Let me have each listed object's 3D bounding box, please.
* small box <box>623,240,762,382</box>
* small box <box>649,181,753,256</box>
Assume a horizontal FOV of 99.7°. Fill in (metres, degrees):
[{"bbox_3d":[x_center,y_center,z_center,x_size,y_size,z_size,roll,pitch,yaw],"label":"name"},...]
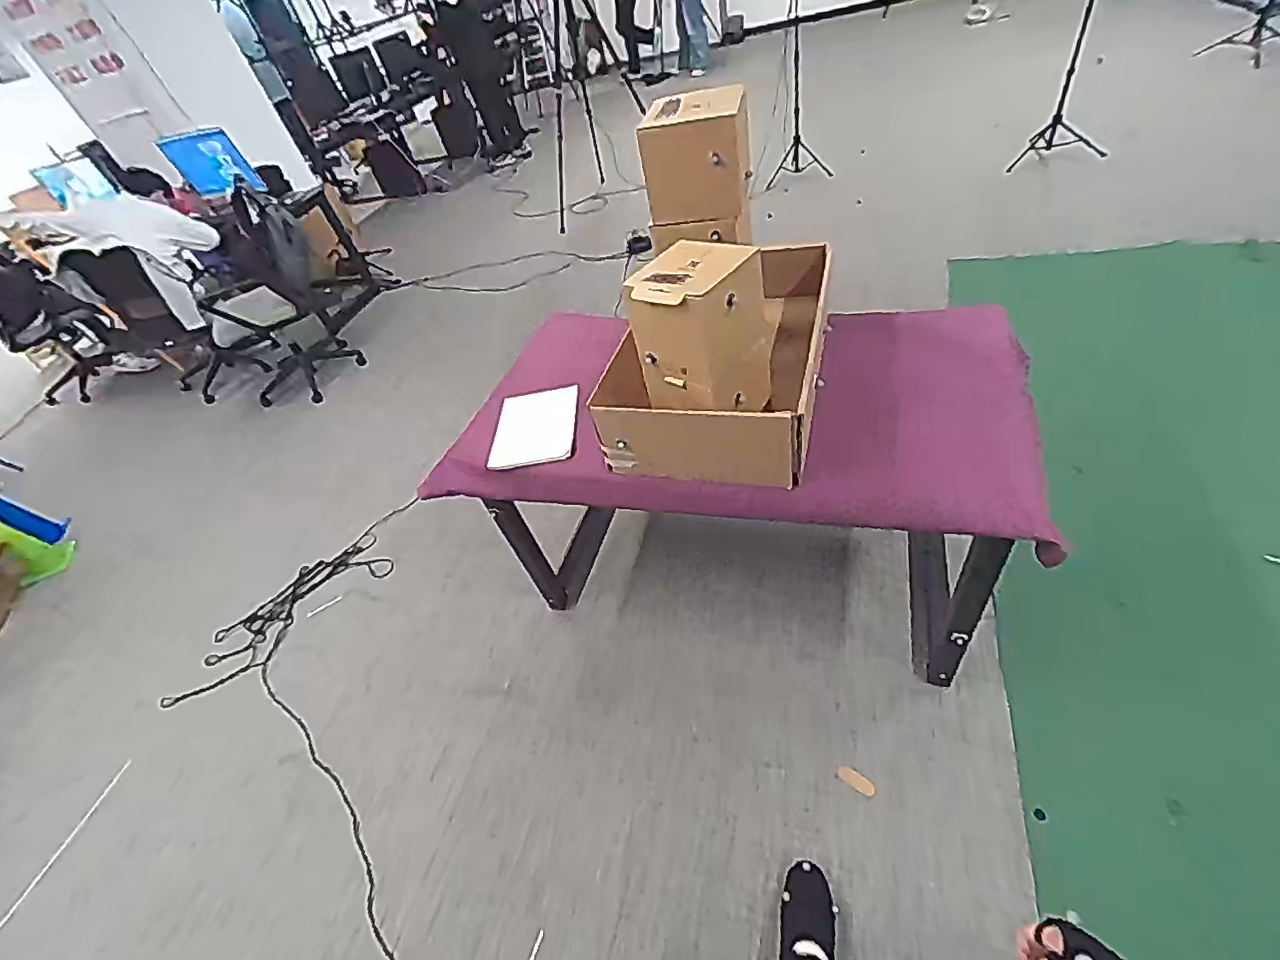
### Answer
[{"bbox_3d":[0.101,-0.295,0.943,0.168,0.176,0.179,23,56,35],"label":"small box"},{"bbox_3d":[0.136,-0.499,1.136,0.179,0.176,0.168,4,50,20],"label":"small box"}]
